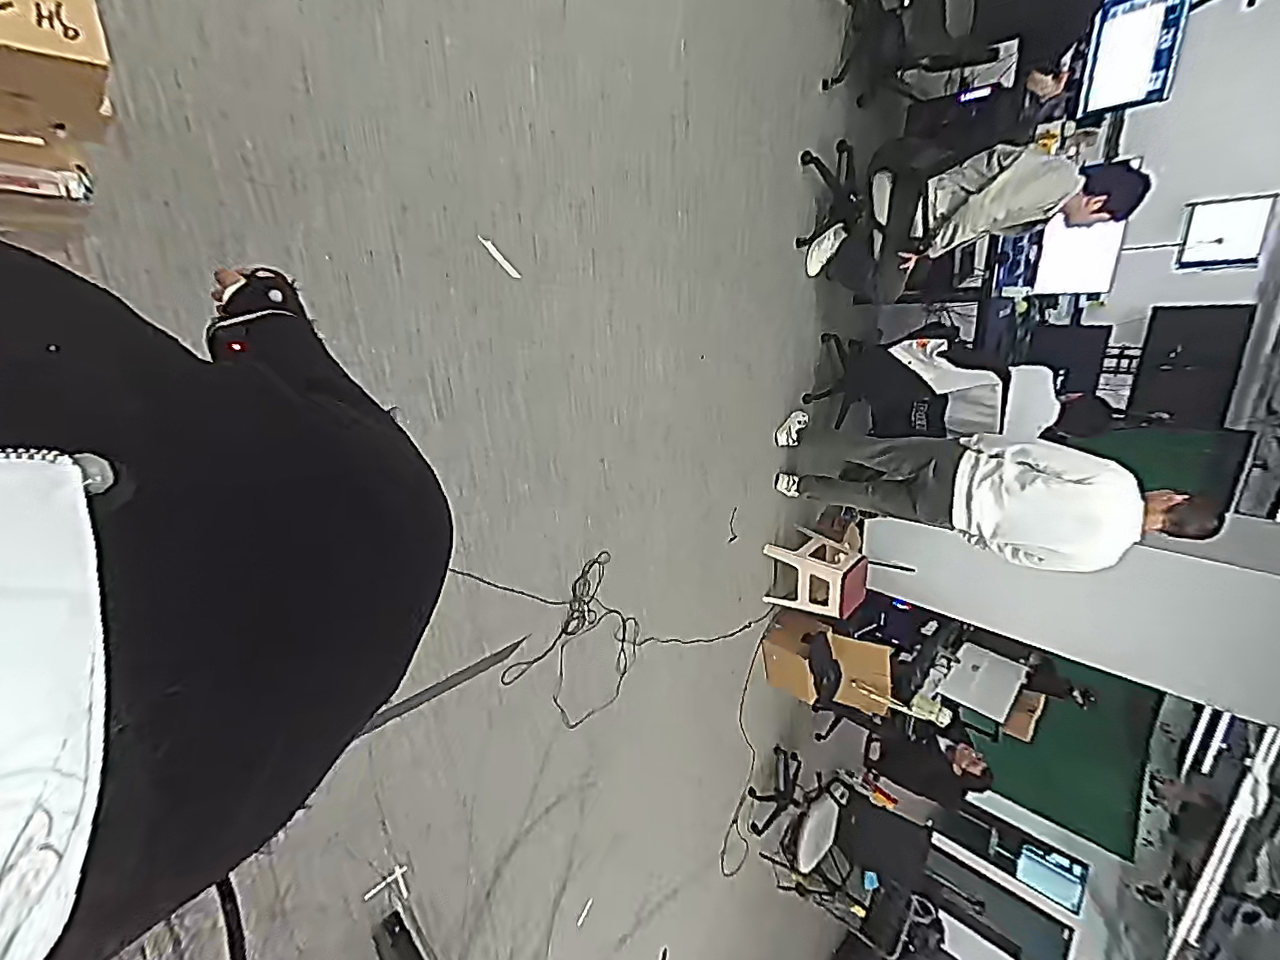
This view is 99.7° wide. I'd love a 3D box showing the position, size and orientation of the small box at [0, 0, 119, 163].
[{"bbox_3d":[-0.703,-0.447,0.572,0.179,0.176,0.168,-22,118,-42],"label":"small box"}]
